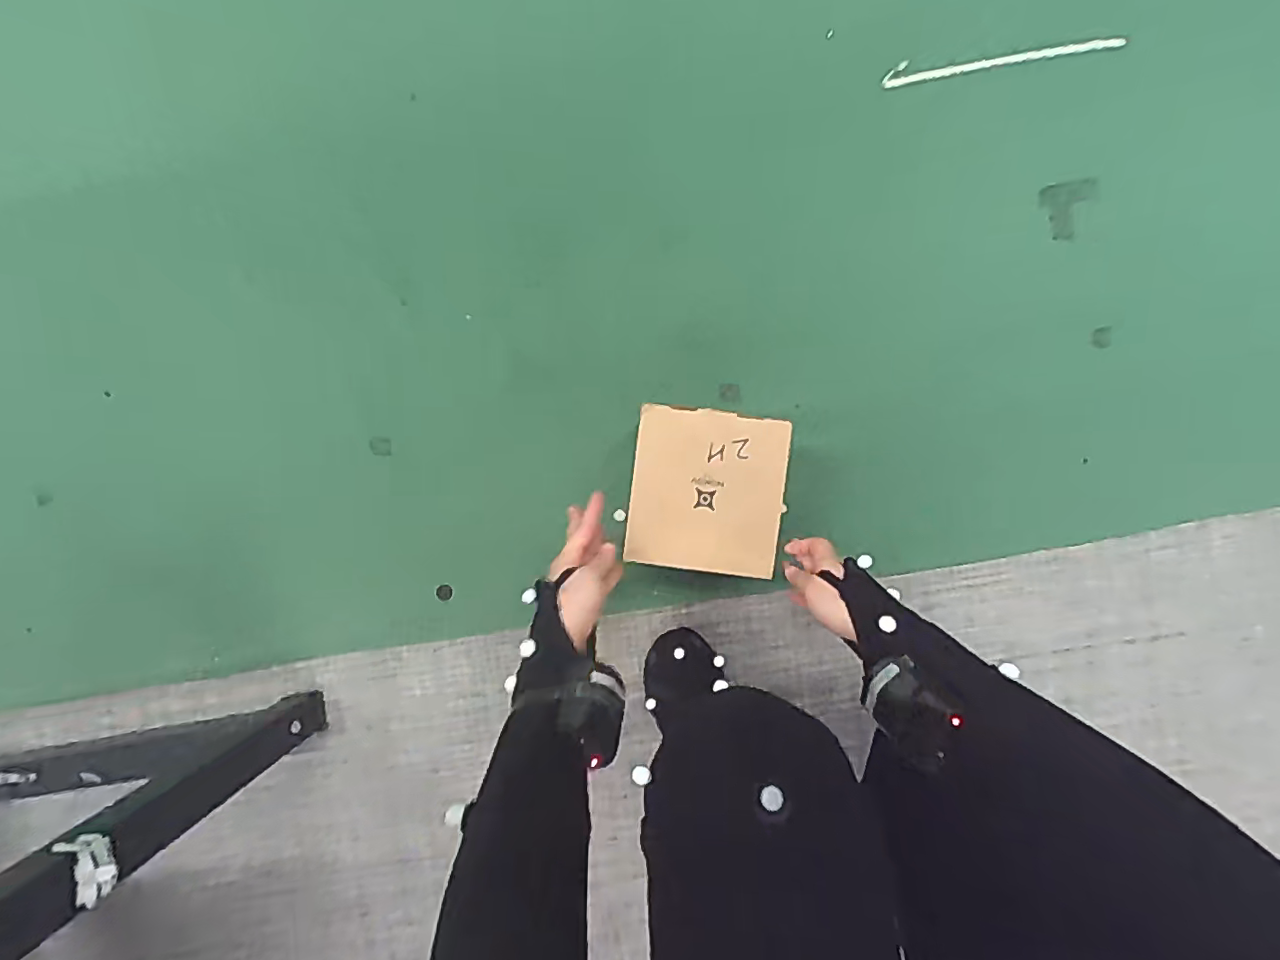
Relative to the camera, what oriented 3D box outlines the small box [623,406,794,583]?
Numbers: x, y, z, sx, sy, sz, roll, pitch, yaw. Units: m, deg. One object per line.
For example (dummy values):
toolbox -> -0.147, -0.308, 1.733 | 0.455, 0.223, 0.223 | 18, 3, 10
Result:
small box -> 0.075, 0.014, 0.659 | 0.168, 0.176, 0.179 | 7, 91, 0
